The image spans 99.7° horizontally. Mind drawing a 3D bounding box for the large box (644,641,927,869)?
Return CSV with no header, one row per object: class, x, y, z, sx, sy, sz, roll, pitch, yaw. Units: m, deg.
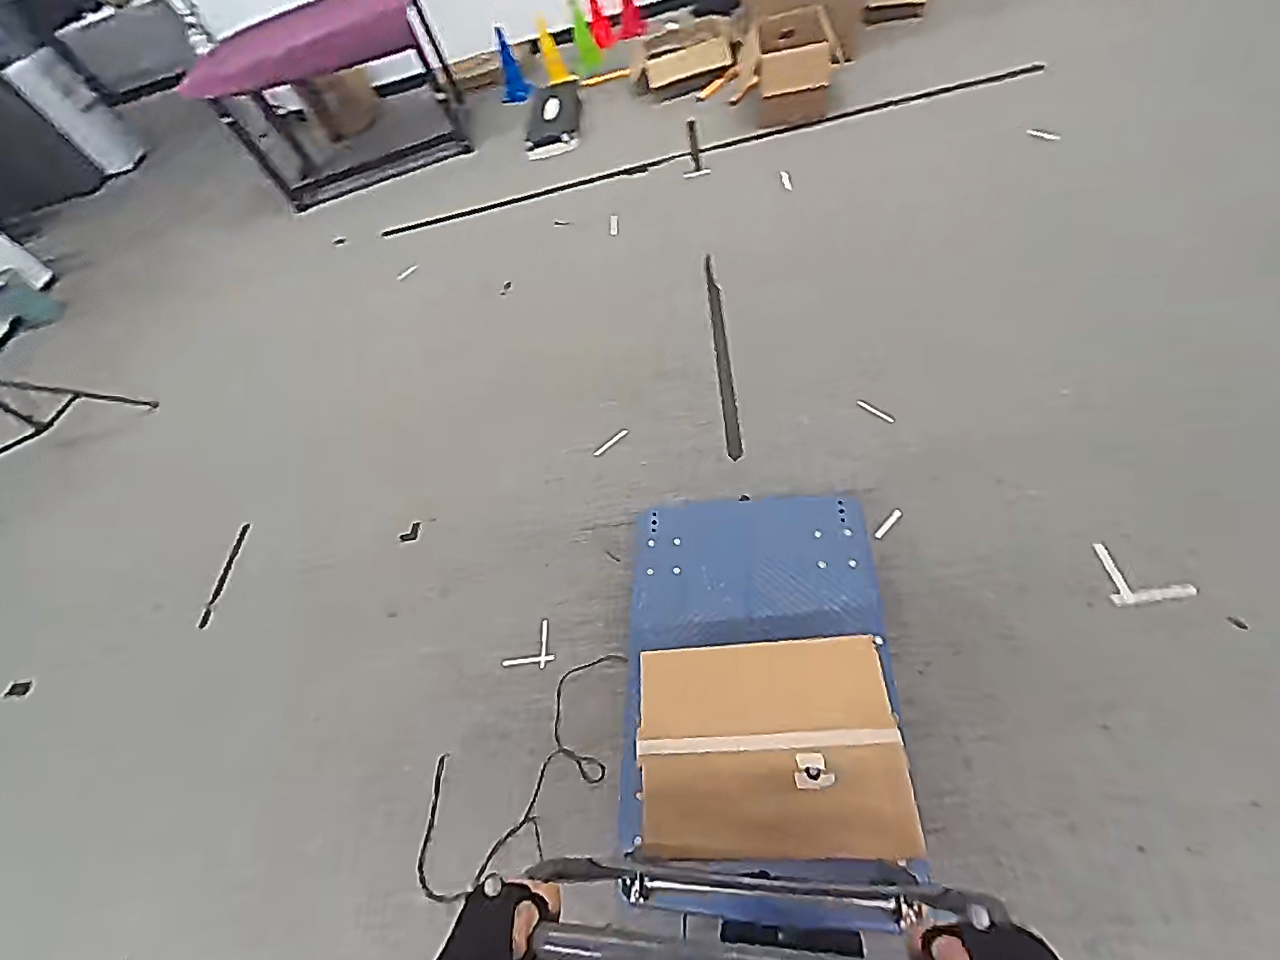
large box,0.234,0.508,0.988,0.408,0.320,0.320,-7,57,9
